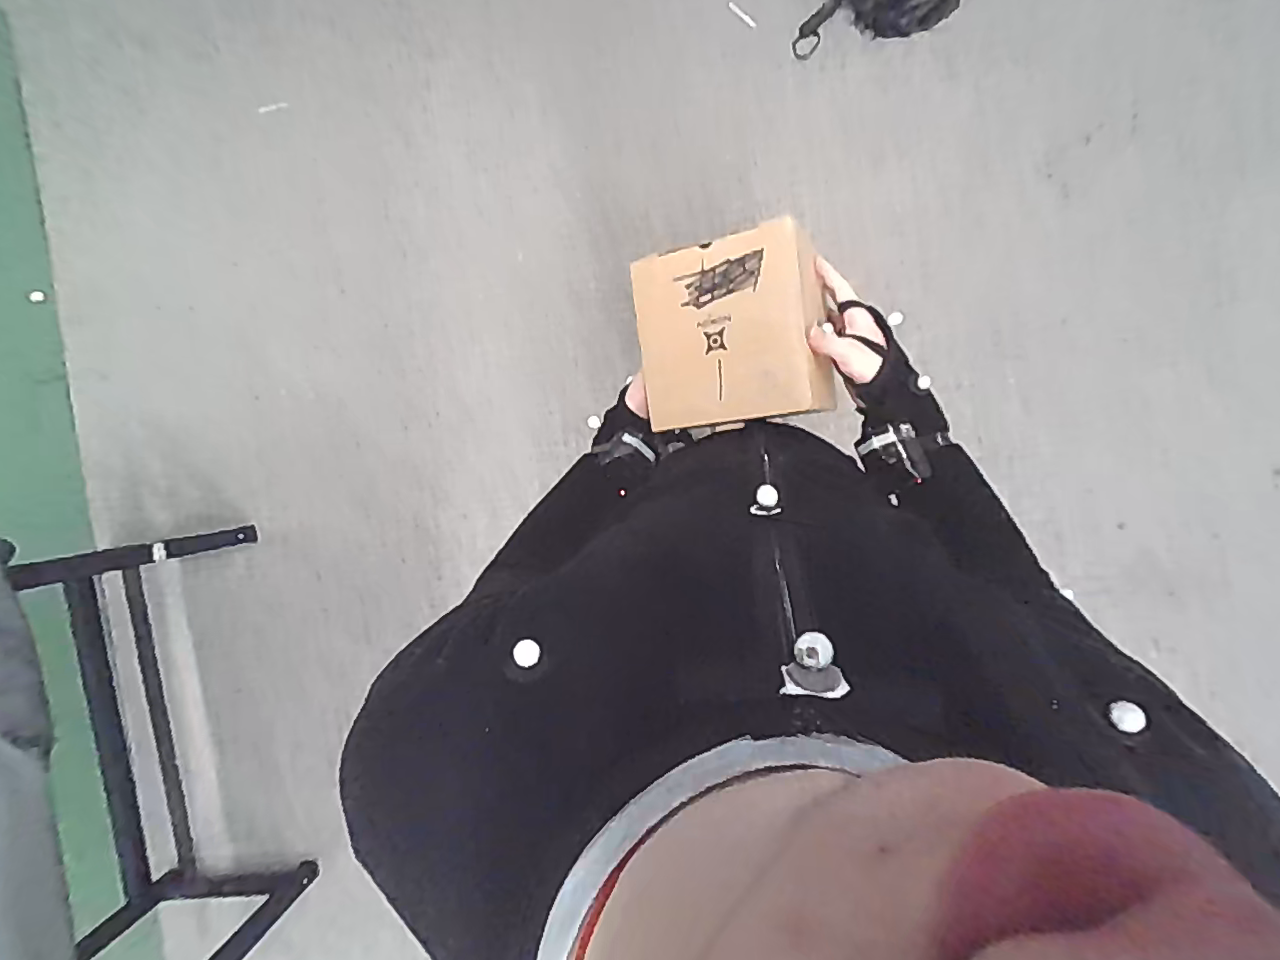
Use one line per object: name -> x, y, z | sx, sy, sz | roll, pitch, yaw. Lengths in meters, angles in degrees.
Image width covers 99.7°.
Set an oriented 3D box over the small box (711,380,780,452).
small box -> 0.280, -0.170, 1.465 | 0.168, 0.176, 0.179 | 4, 95, 8
